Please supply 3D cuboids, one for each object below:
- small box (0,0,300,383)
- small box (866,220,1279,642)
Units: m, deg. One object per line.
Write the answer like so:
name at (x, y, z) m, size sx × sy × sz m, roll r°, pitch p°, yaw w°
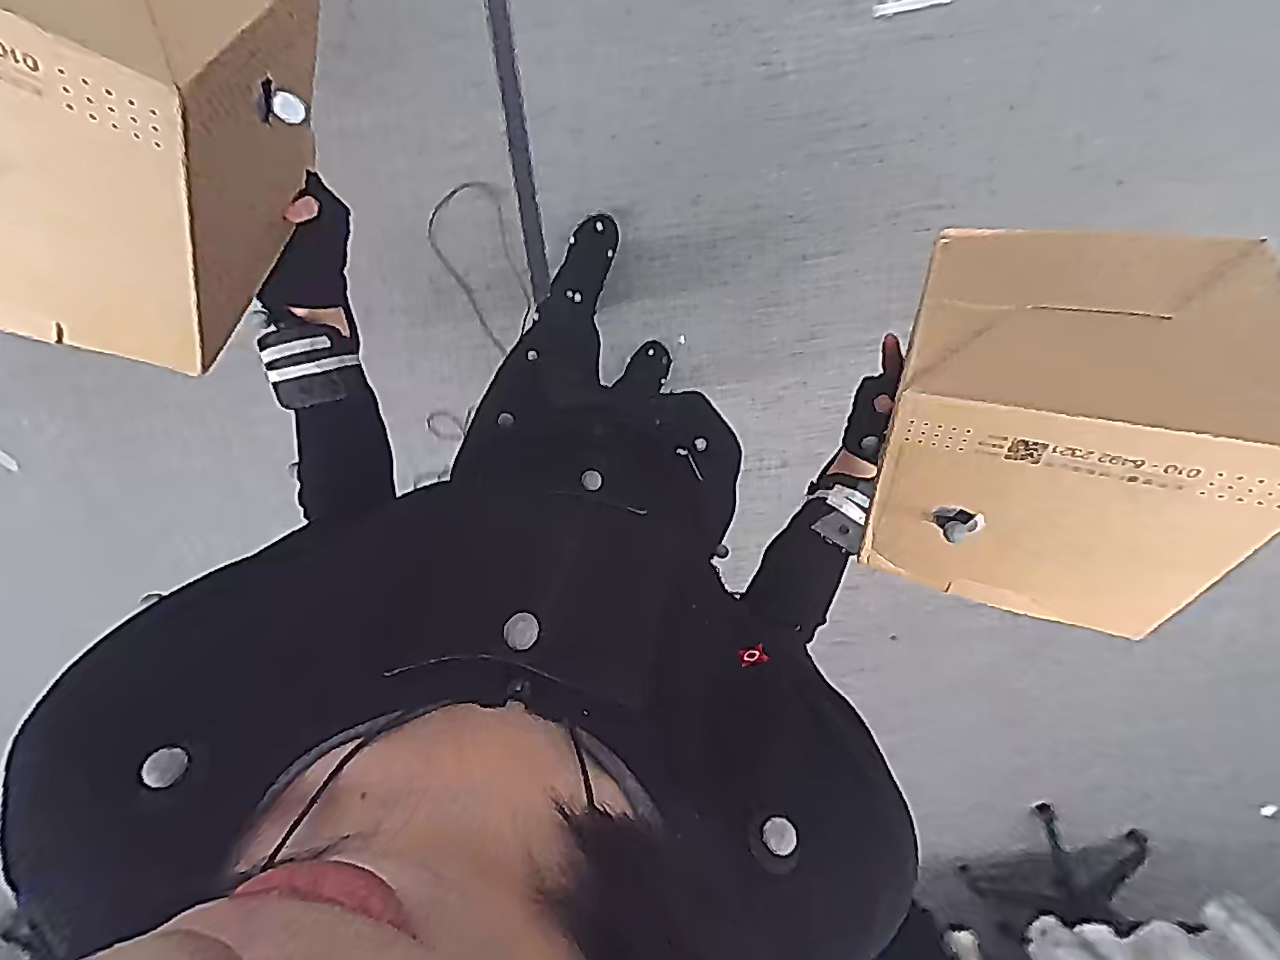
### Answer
small box at (-0.280, -0.183, 0.253) m, size 0.168 × 0.179 × 0.176 m, roll 17°, pitch 139°, yaw -25°
small box at (0.248, -0.037, 0.329) m, size 0.168 × 0.179 × 0.176 m, roll 14°, pitch 144°, yaw 22°
